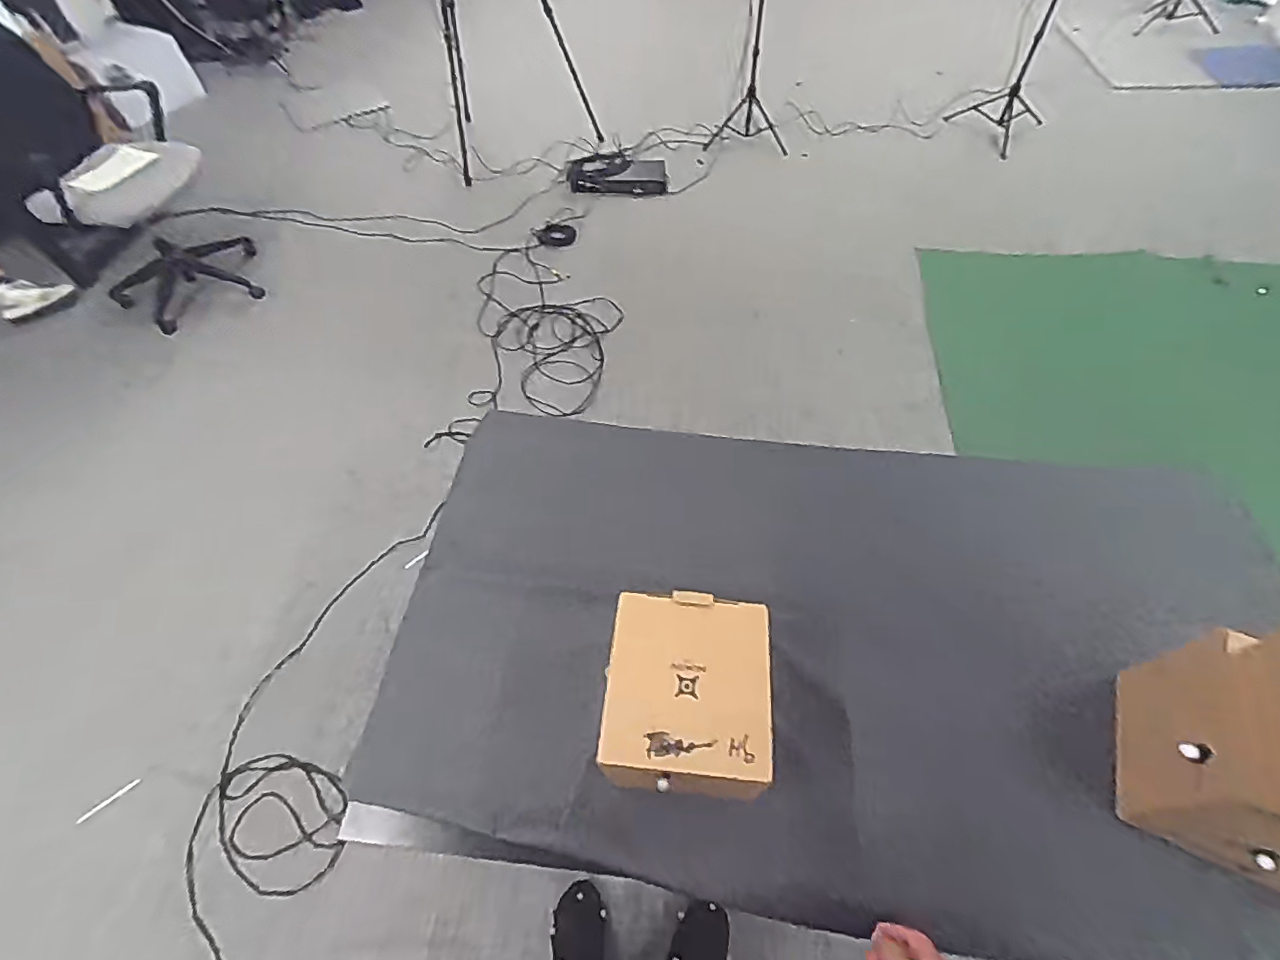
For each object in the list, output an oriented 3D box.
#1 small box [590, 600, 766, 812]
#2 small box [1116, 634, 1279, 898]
[{"bbox_3d":[0.046,0.255,0.607,0.168,0.176,0.179,3,54,6],"label":"small box"},{"bbox_3d":[0.623,0.292,0.540,0.168,0.176,0.179,21,57,17],"label":"small box"}]
